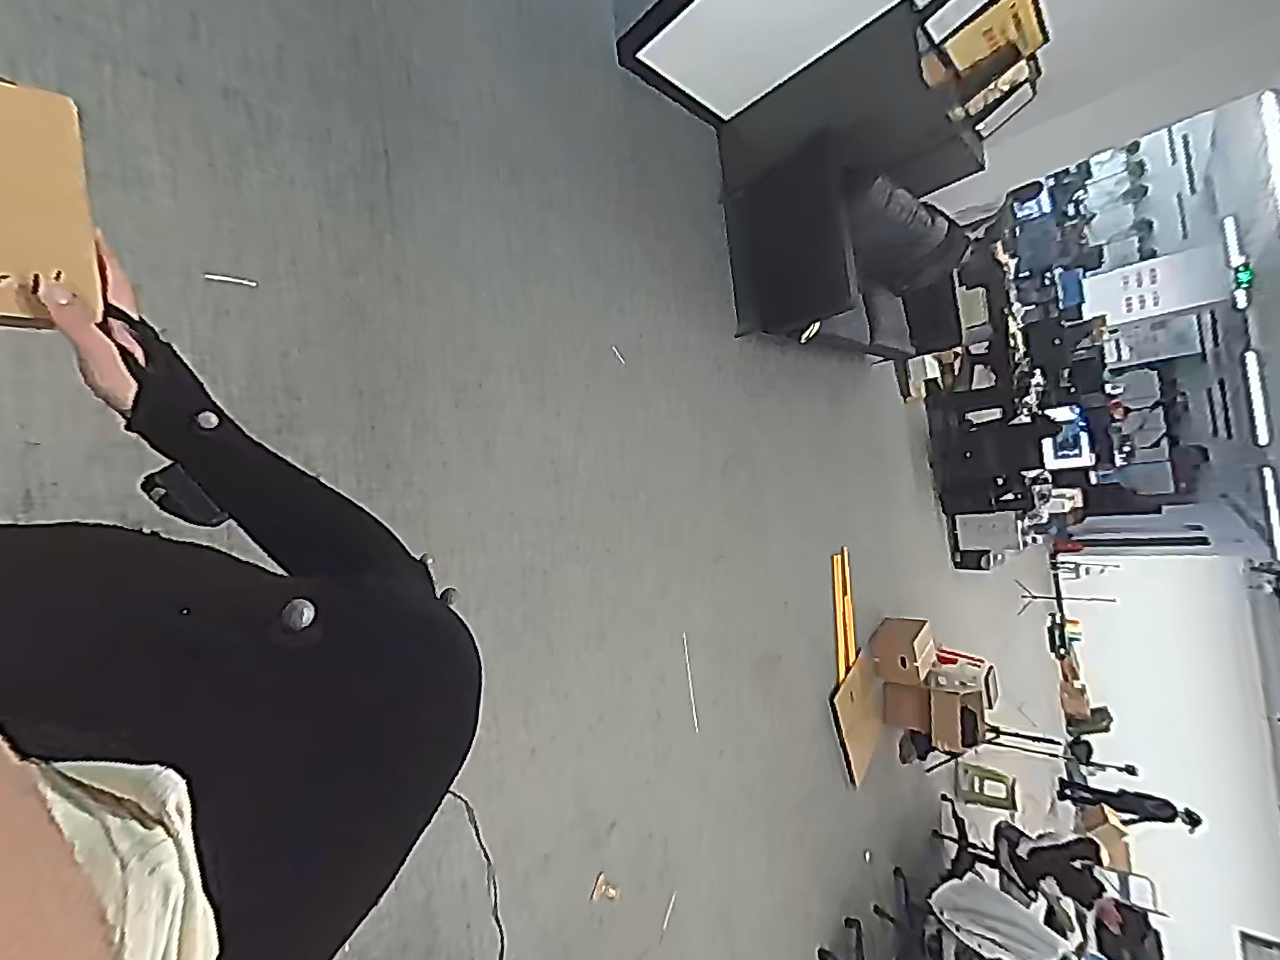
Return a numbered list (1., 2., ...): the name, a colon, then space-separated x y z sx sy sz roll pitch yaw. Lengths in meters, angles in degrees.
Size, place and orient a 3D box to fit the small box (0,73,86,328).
1. small box: -0.574 -0.225 0.431 0.168 0.176 0.179 -8 103 -48
